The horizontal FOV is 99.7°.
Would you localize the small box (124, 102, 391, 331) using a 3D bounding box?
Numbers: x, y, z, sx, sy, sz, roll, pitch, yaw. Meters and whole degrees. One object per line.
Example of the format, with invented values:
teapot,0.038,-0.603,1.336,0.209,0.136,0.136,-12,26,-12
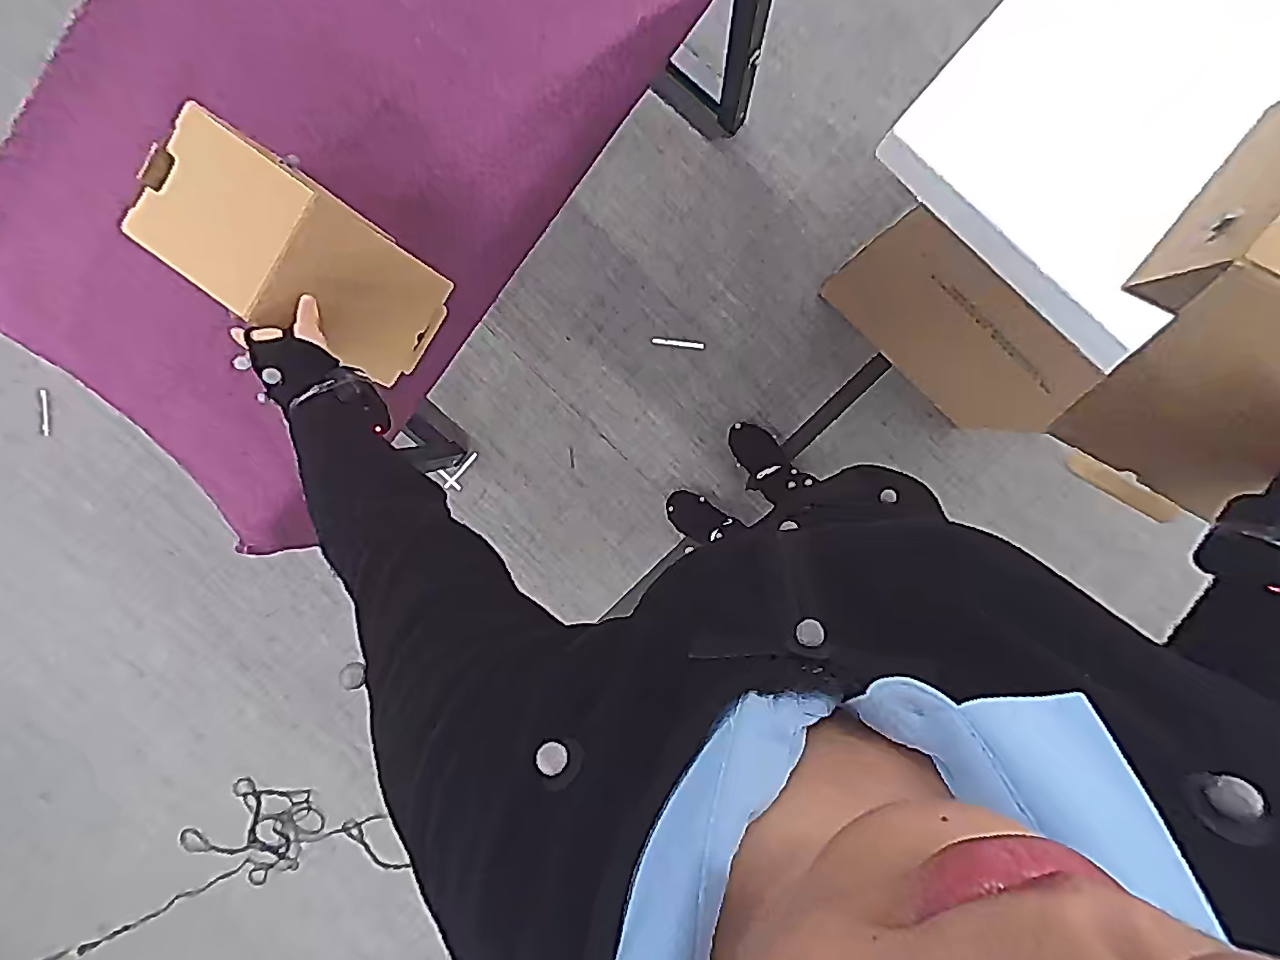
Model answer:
small box,-0.454,-0.304,0.673,0.179,0.176,0.168,36,97,1
